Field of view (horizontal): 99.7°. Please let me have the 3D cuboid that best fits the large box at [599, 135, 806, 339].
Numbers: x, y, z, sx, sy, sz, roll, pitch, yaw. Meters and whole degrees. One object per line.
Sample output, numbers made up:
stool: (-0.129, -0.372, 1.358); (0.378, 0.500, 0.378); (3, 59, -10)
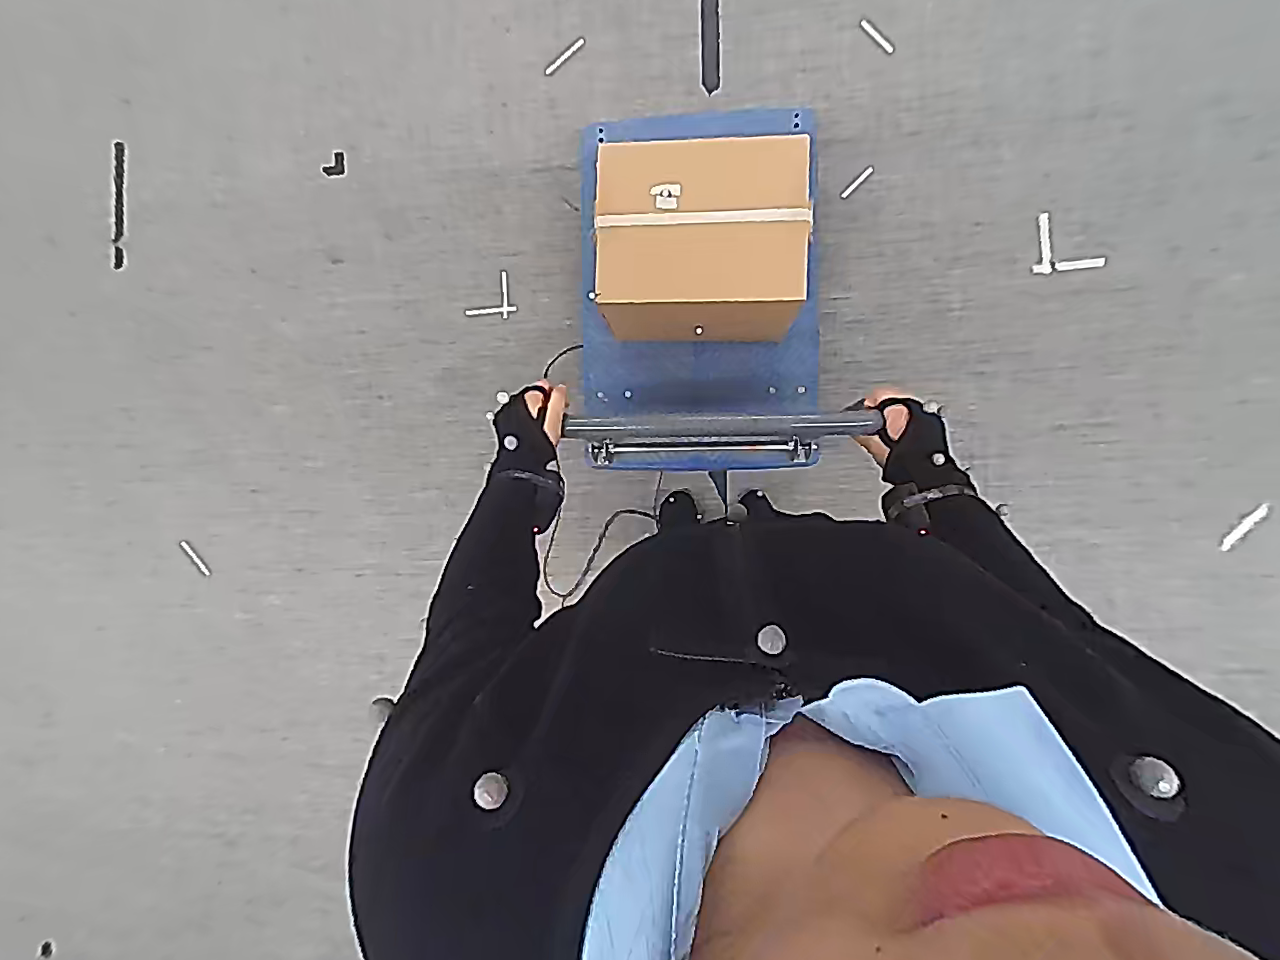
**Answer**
large box: (0.136, -0.503, 1.193); (0.408, 0.320, 0.320); (1, 89, 7)
